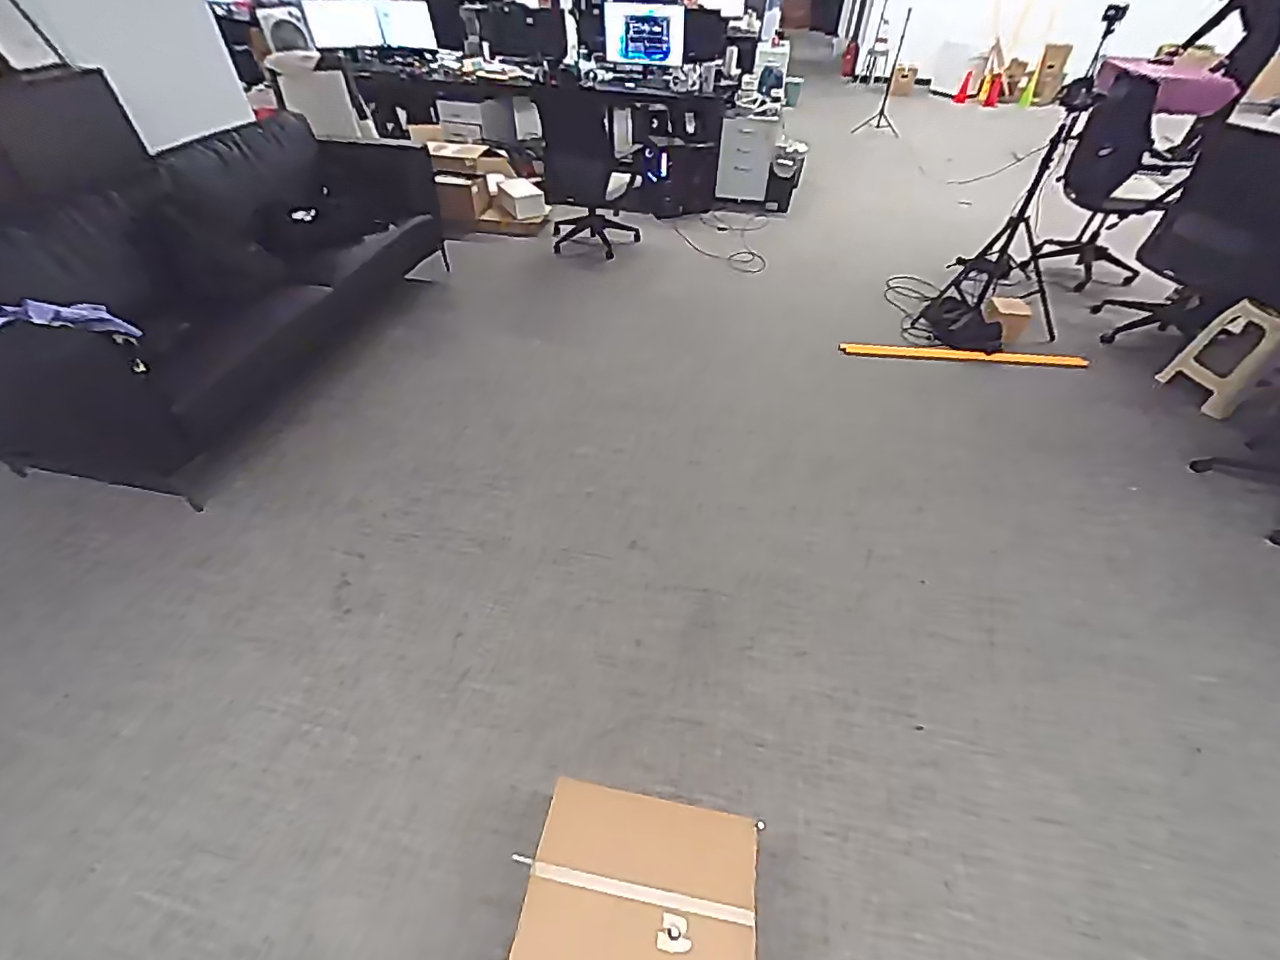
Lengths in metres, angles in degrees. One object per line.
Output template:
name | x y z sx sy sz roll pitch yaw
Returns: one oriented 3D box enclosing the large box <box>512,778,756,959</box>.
large box | 0.000 0.841 1.069 0.408 0.320 0.320 8 45 7
